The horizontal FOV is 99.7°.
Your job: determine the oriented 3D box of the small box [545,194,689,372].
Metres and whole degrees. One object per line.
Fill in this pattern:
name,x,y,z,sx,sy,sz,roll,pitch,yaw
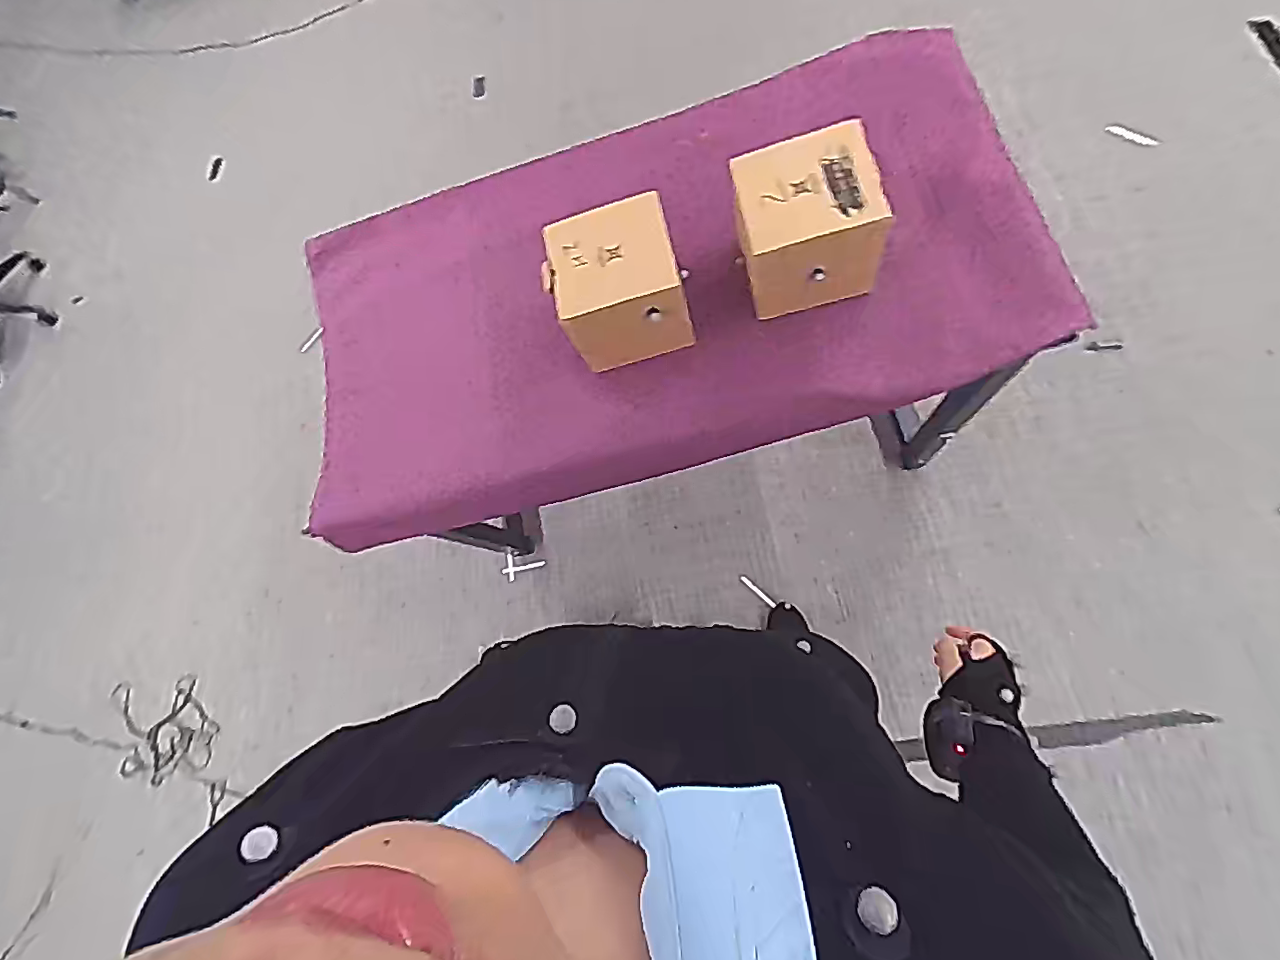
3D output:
small box,-0.026,-0.292,0.836,0.179,0.176,0.168,-15,72,9
